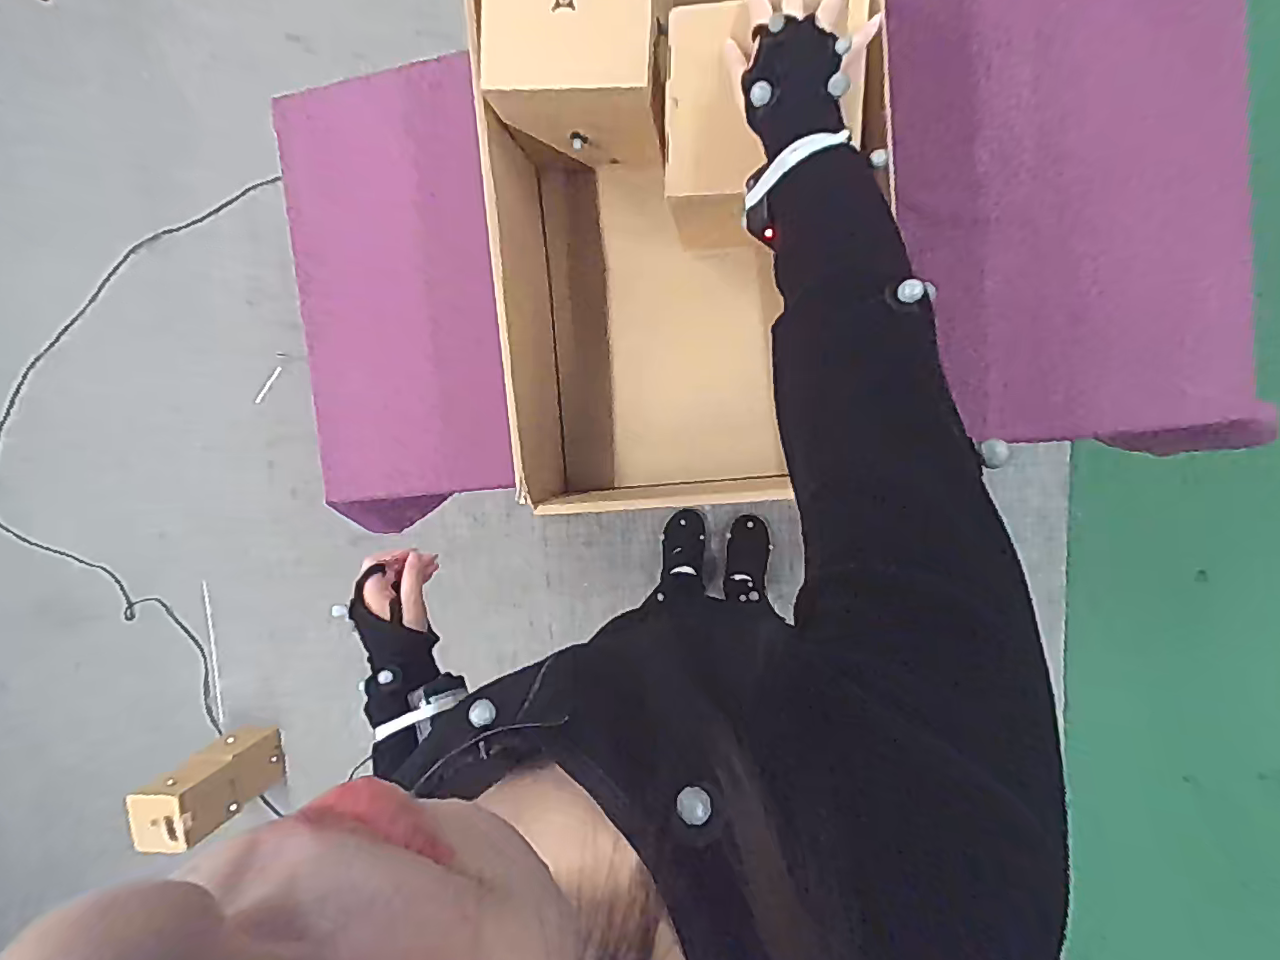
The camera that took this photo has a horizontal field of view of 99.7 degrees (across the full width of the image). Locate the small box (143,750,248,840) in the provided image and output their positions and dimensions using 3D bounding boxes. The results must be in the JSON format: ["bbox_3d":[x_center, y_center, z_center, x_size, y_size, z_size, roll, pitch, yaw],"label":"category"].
[{"bbox_3d":[-1.294,0.920,1.591,0.179,0.176,0.168,-5,93,13],"label":"small box"}]
